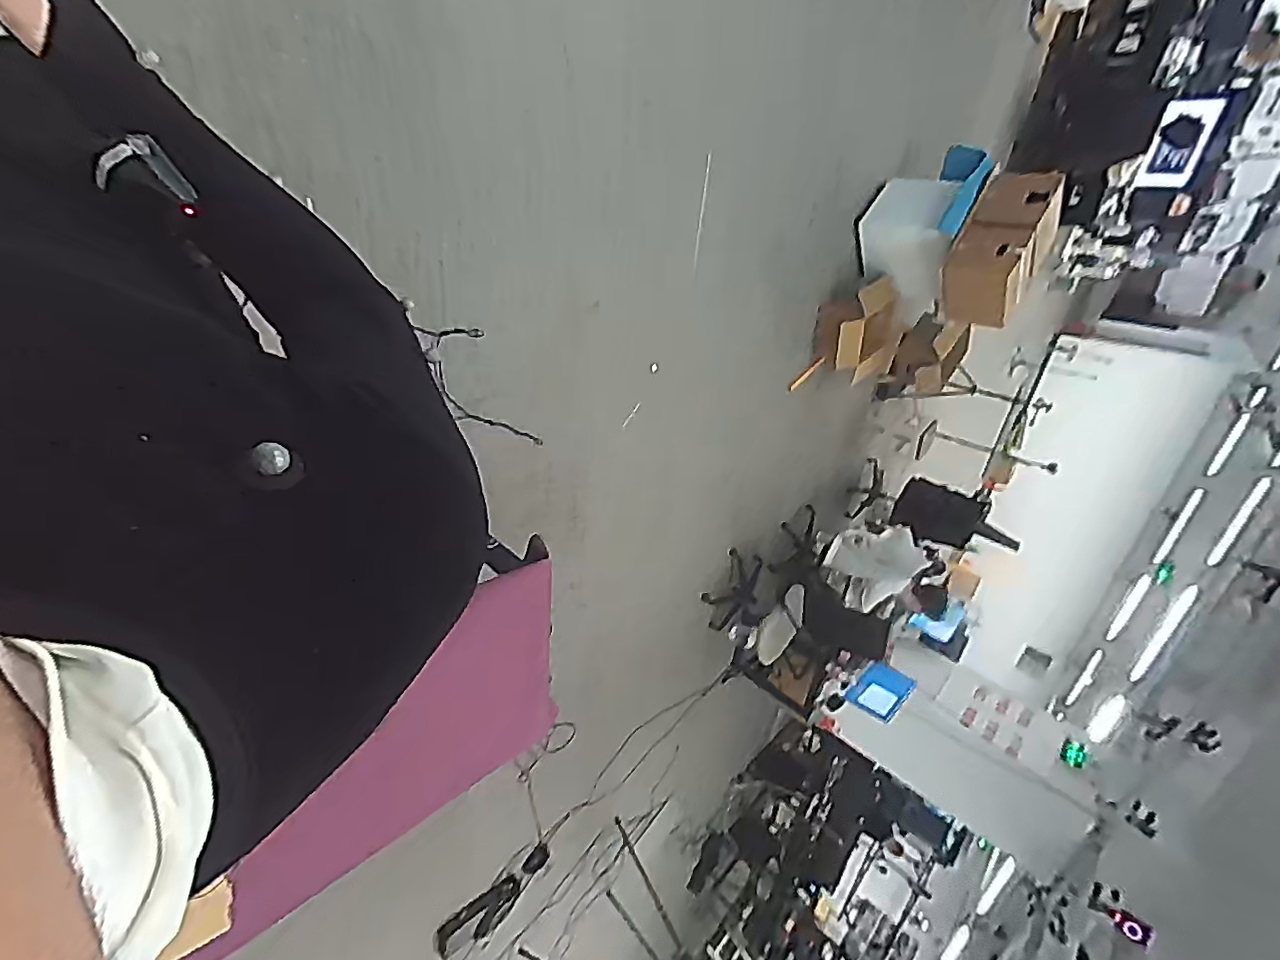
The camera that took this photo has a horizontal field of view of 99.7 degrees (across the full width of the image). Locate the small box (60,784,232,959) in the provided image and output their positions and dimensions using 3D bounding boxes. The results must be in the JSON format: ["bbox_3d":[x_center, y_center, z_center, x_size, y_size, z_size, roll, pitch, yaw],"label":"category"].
[{"bbox_3d":[-0.775,0.630,0.854,0.179,0.176,0.168,-9,119,-48],"label":"small box"}]
